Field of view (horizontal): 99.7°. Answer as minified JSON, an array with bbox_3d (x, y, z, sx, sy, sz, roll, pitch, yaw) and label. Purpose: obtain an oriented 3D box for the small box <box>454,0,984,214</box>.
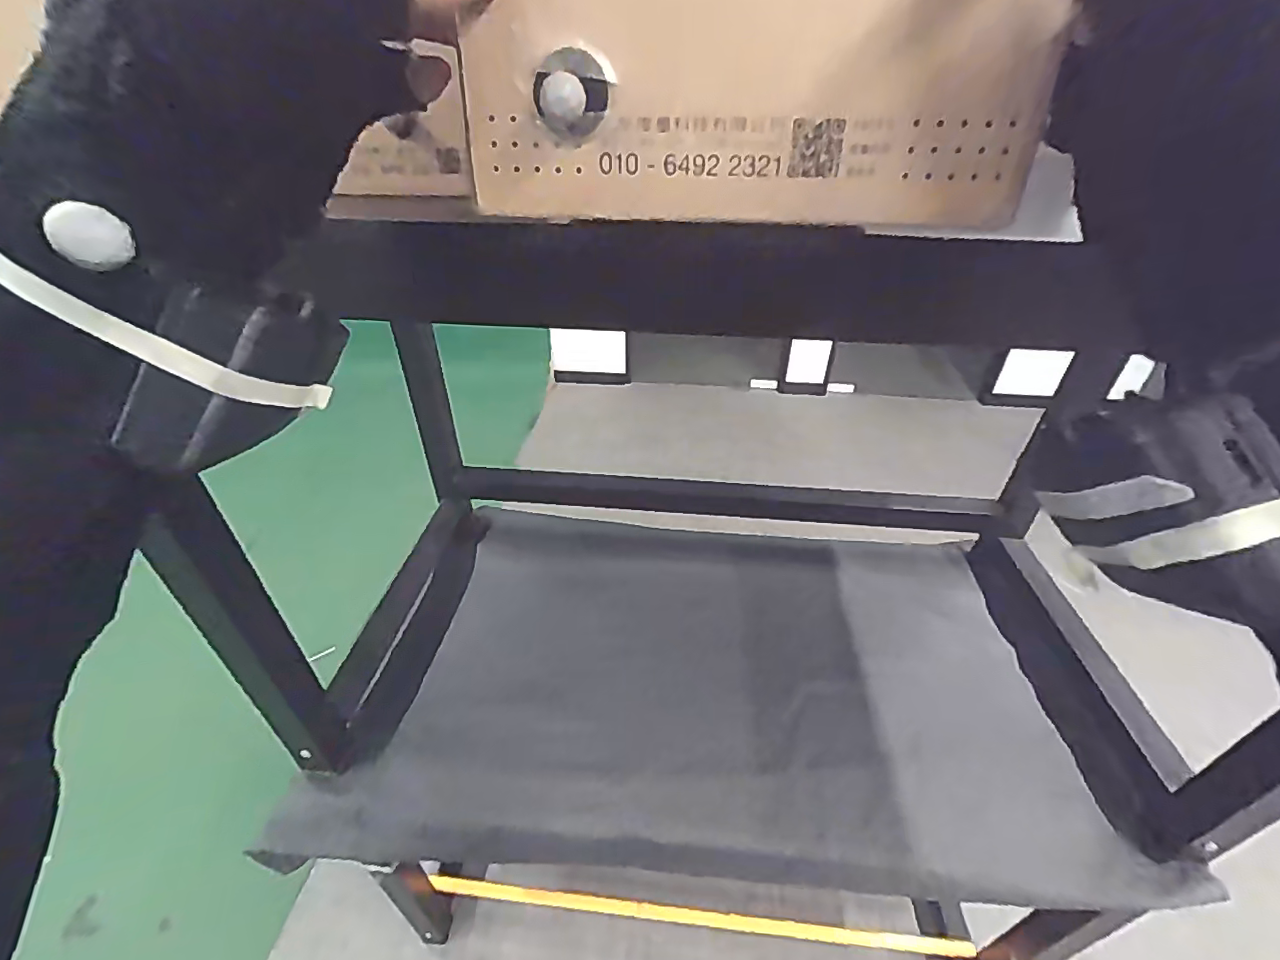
[{"bbox_3d":[0.029,-0.204,0.218,0.168,0.176,0.179,3,26,4],"label":"small box"}]
